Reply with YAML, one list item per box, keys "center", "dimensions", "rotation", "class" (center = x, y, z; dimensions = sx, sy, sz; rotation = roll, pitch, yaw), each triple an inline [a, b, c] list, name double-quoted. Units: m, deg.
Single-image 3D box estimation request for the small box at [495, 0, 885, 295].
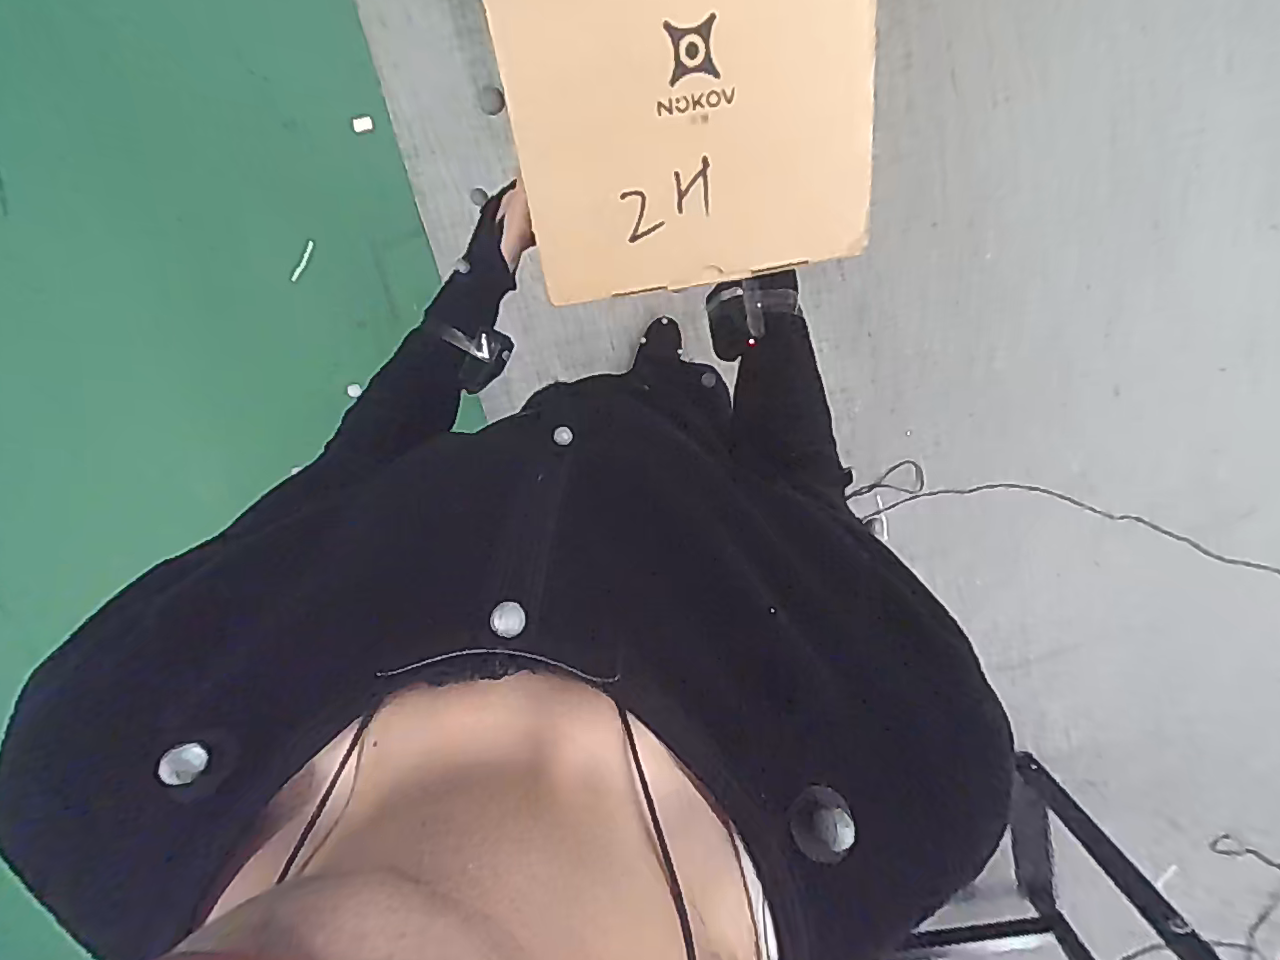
- center: [0.017, -0.213, 0.304]
  dimensions: [0.168, 0.176, 0.179]
  rotation: [-10, 116, -1]
  class: "small box"
